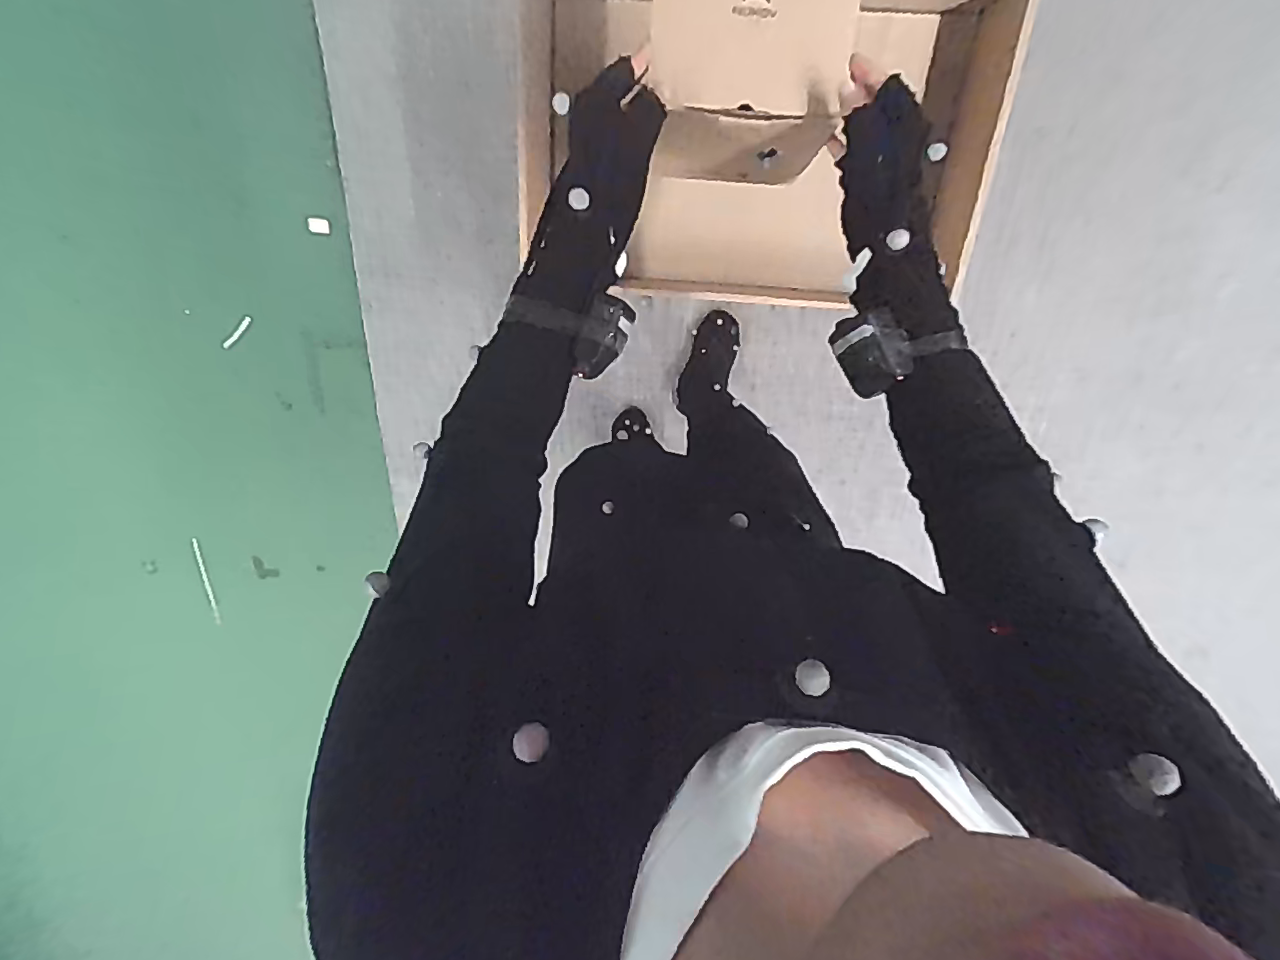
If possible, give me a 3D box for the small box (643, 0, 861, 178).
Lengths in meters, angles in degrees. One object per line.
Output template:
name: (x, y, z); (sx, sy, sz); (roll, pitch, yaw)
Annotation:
small box: (0.091, -0.401, 0.498); (0.168, 0.176, 0.179); (4, 102, -2)
